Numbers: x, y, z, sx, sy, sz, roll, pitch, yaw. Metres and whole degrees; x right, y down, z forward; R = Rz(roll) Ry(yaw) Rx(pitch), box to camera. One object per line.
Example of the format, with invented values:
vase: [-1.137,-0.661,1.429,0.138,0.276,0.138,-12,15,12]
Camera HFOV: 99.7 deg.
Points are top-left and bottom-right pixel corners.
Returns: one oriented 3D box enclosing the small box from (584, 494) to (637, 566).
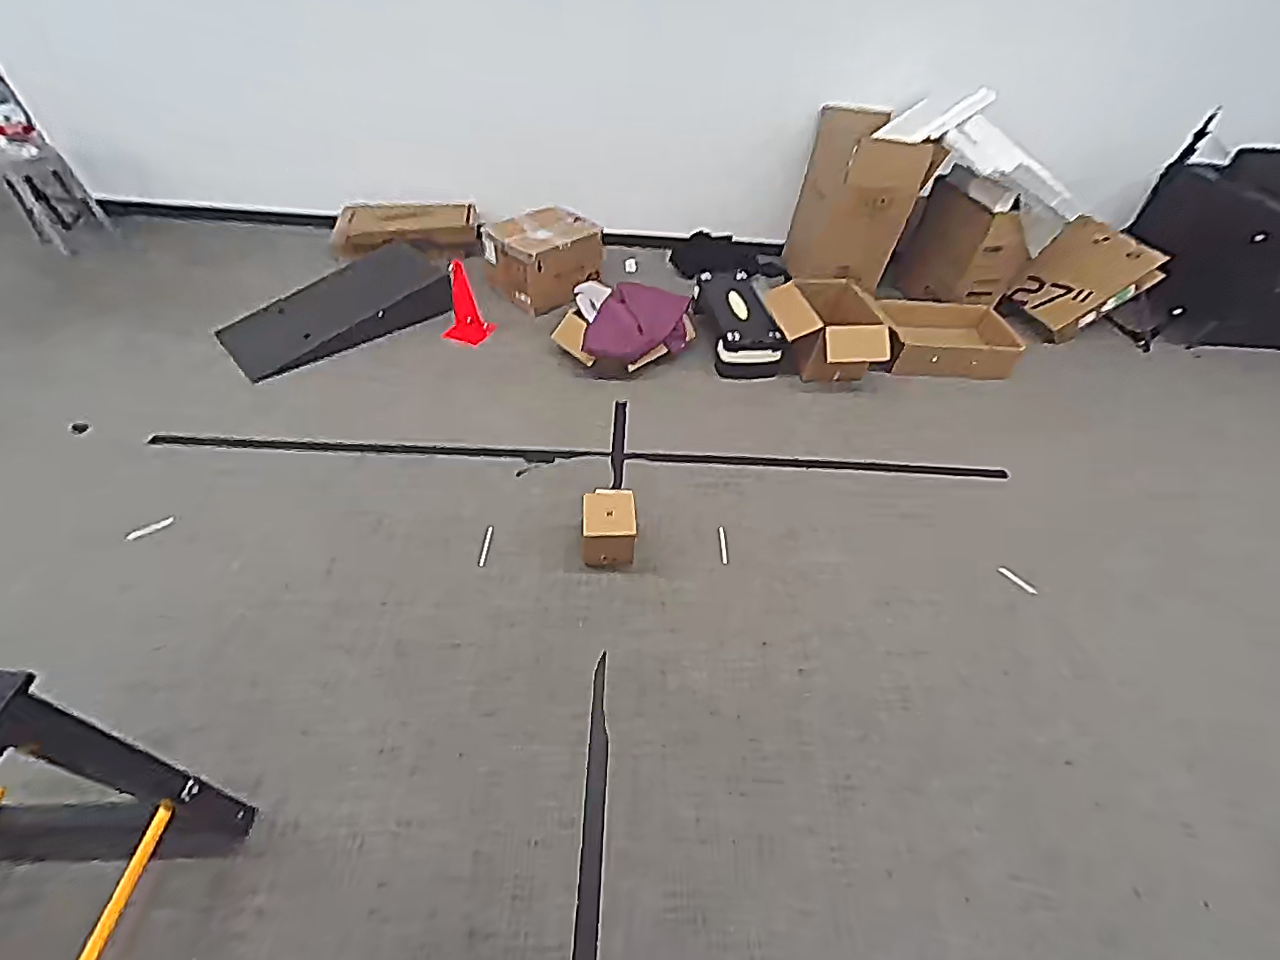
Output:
small box: [-0.101,0.165,1.774,0.168,0.176,0.179,-2,48,-5]
